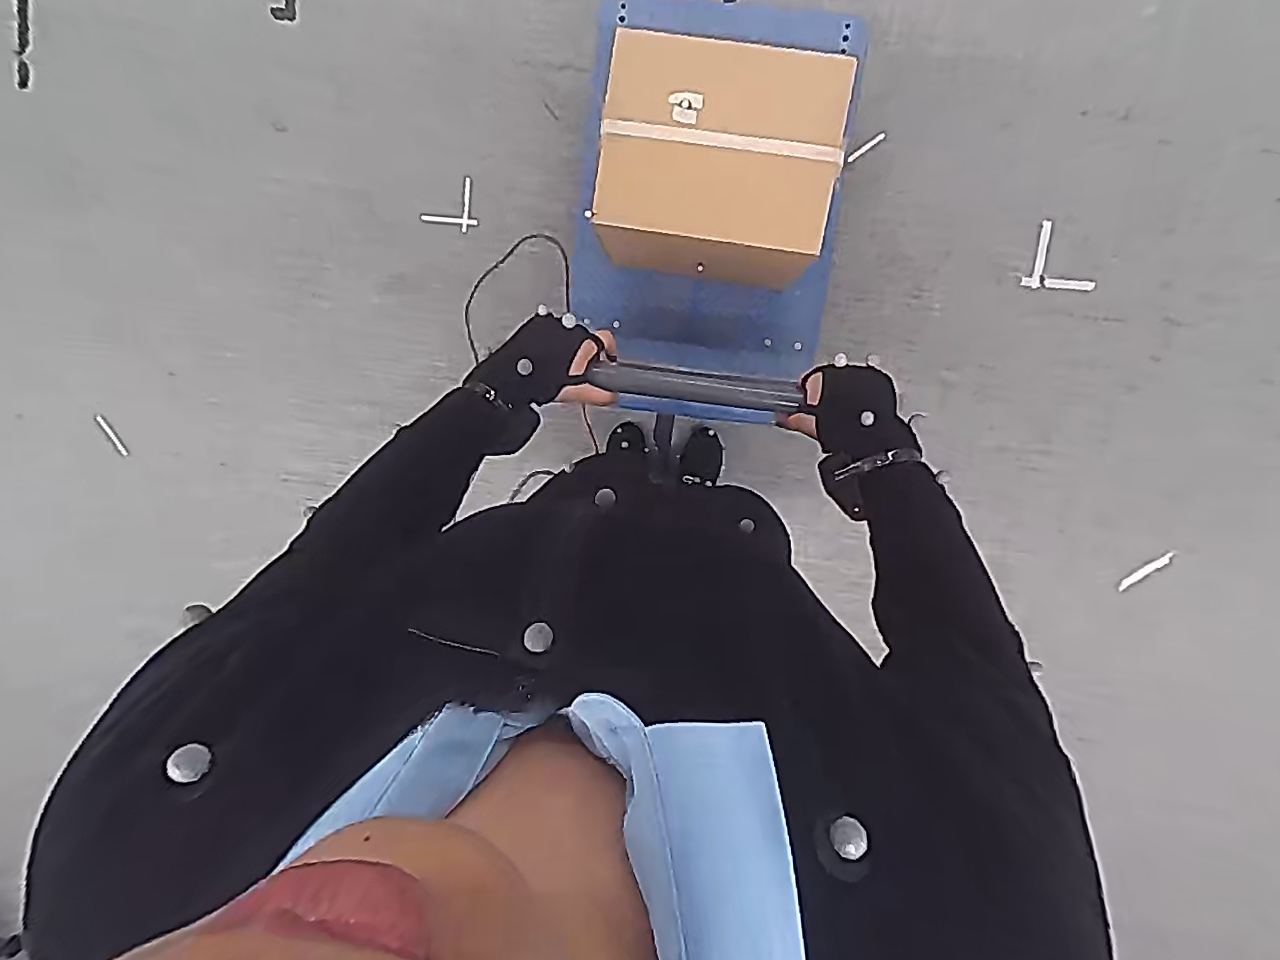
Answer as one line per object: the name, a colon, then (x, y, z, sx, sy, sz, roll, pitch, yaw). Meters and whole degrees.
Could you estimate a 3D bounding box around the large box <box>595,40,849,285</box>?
large box: (0.148, -0.597, 1.080, 0.408, 0.320, 0.320, 9, 98, 4)
